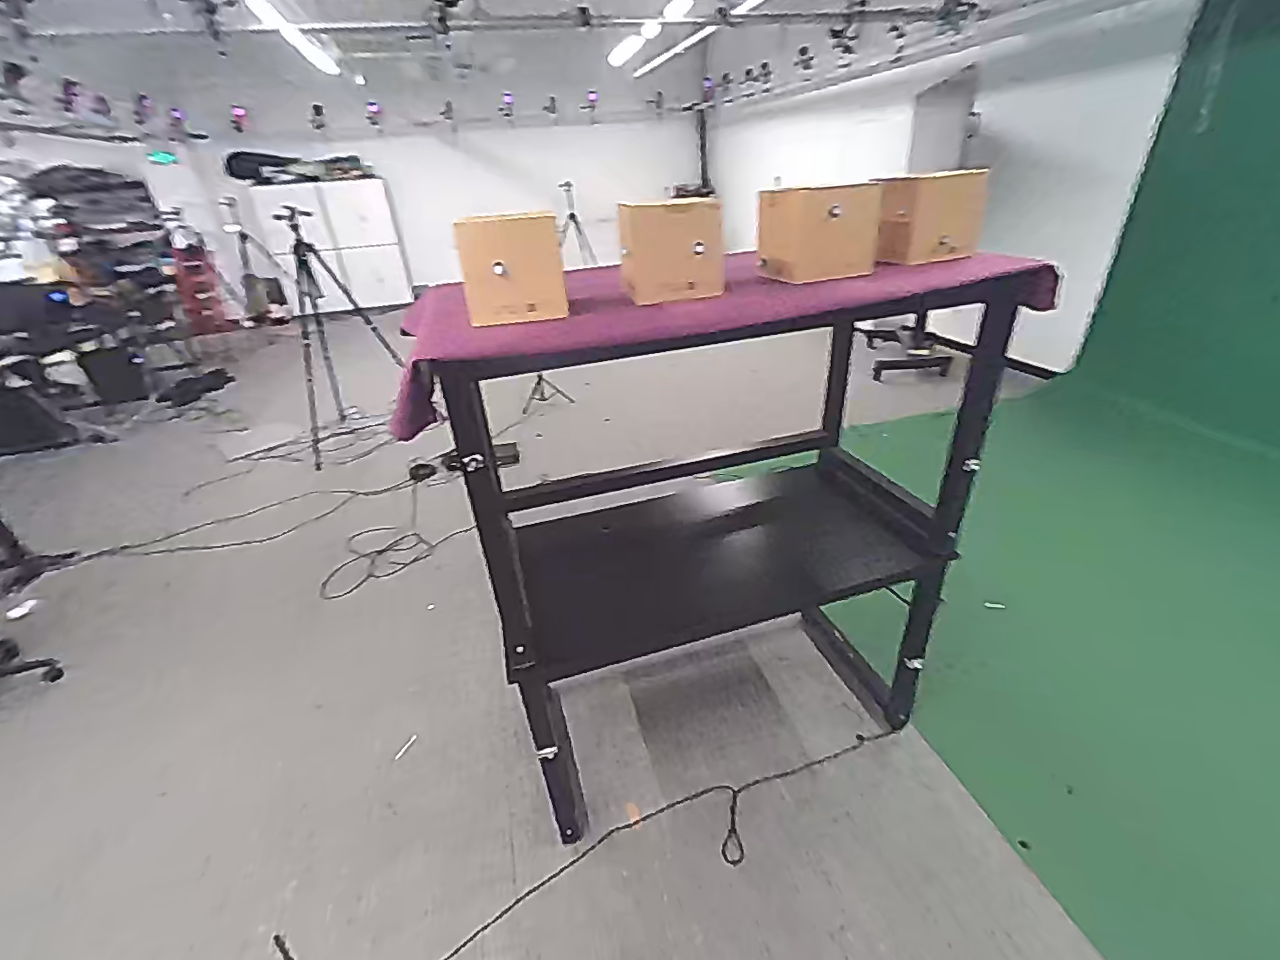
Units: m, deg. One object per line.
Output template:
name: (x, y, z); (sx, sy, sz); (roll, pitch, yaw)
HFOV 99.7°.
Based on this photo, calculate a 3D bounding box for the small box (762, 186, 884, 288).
small box: (0.362, -0.493, 1.099); (0.179, 0.176, 0.168); (-11, 29, -13)

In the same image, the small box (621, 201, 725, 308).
small box: (0.062, -0.431, 1.036); (0.168, 0.176, 0.179); (-8, 29, -7)

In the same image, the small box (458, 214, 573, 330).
small box: (-0.215, -0.373, 0.972); (0.168, 0.176, 0.179); (-8, 29, -6)
